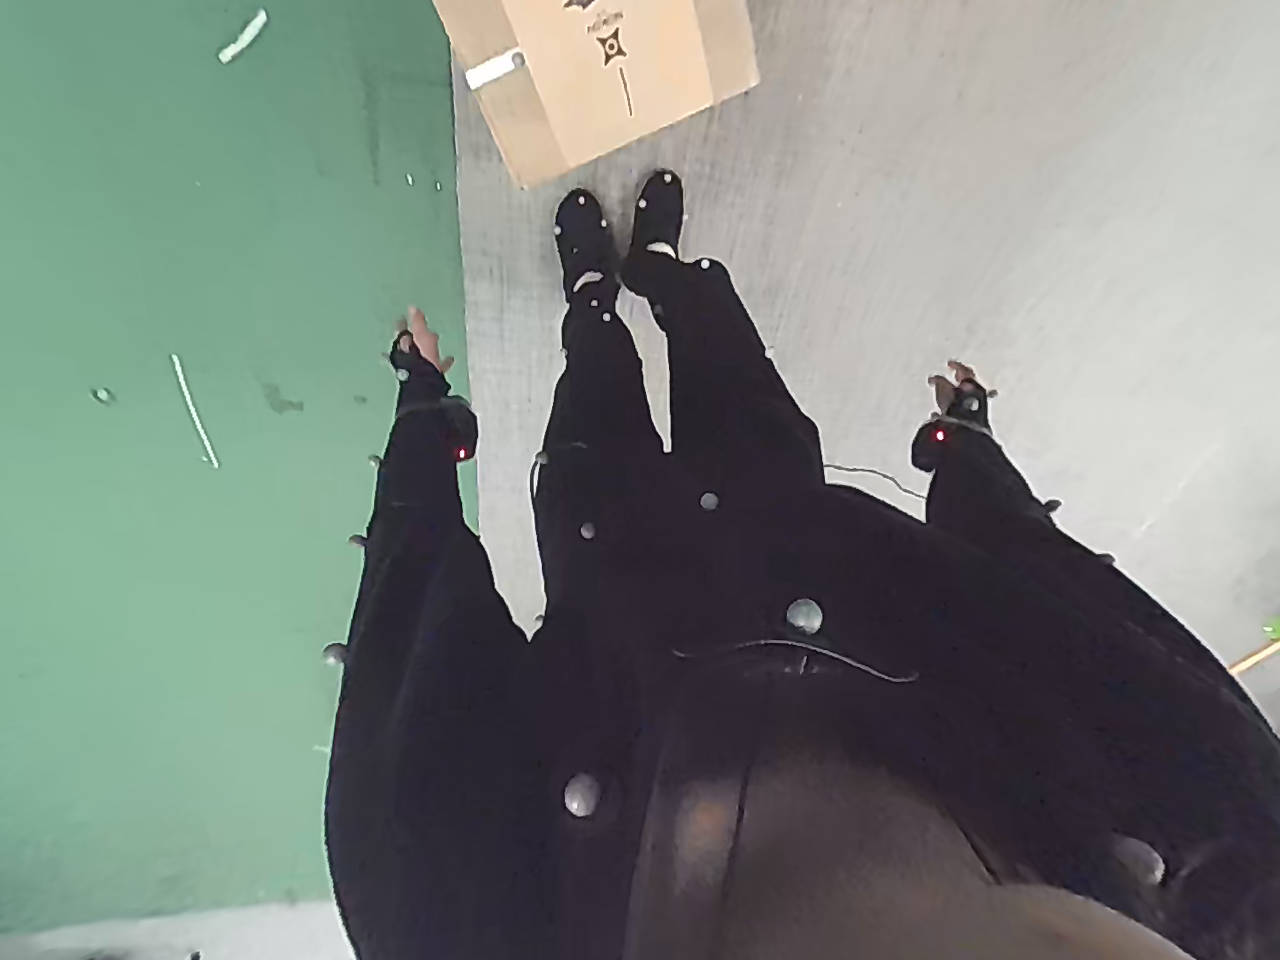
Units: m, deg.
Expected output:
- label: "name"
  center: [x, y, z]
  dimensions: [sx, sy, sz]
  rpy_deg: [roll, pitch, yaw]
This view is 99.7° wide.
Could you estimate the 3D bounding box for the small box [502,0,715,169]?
- label: "small box"
  center: [-0.038, -0.459, 0.563]
  dimensions: [0.168, 0.176, 0.179]
  rpy_deg: [-20, 129, 8]
